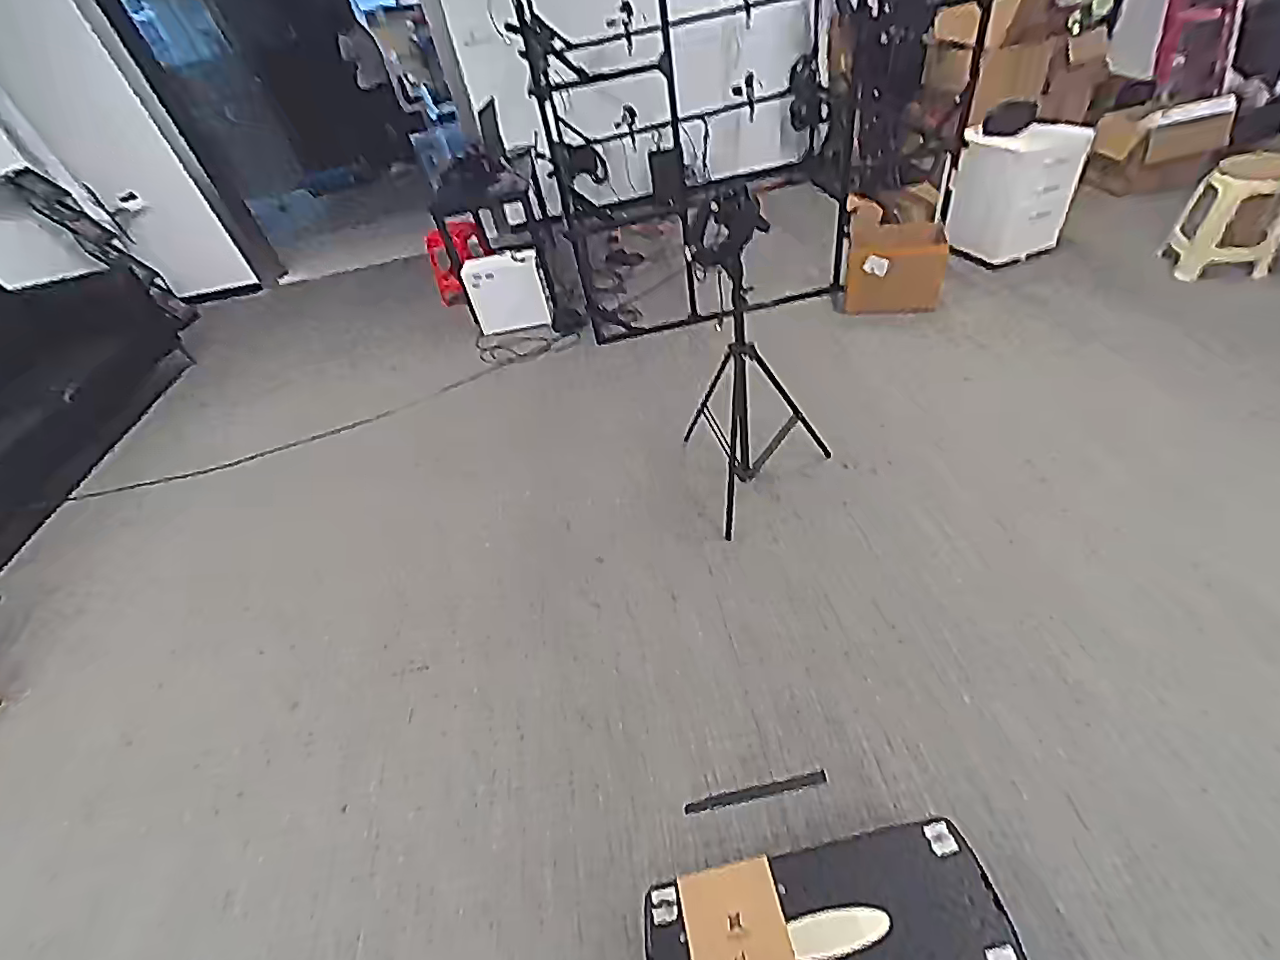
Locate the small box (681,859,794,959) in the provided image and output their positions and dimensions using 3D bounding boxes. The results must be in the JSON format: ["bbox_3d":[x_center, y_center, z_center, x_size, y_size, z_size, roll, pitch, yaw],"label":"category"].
[{"bbox_3d":[0.168,0.802,0.945,0.168,0.176,0.179,-13,42,-1],"label":"small box"}]
